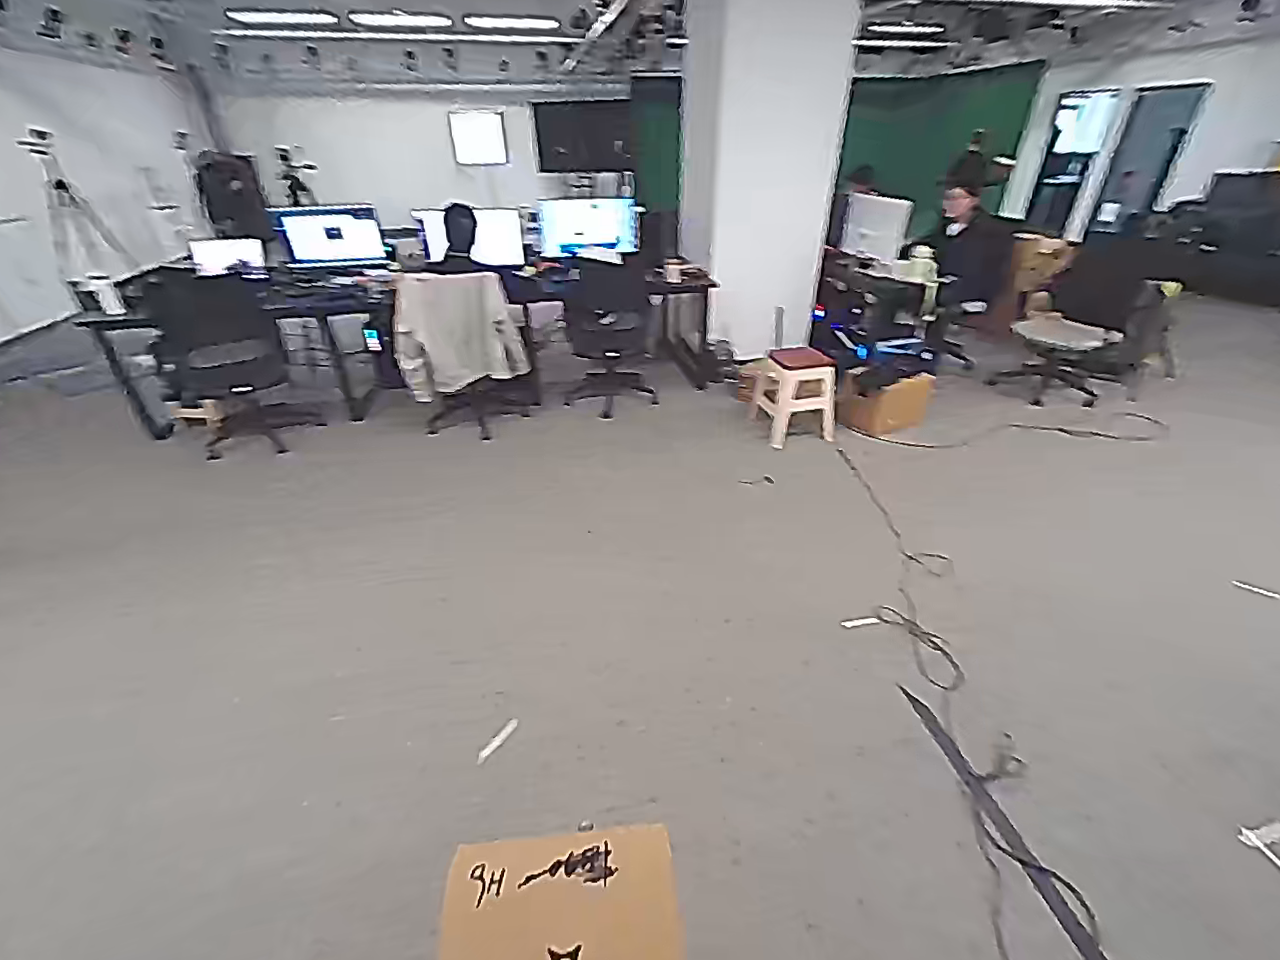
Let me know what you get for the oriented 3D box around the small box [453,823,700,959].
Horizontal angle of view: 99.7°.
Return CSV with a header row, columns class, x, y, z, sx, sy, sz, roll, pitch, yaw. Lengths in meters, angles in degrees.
class,x,y,z,sx,sy,sz,roll,pitch,yaw
small box,-0.042,0.384,0.401,0.168,0.176,0.179,-2,43,-6
